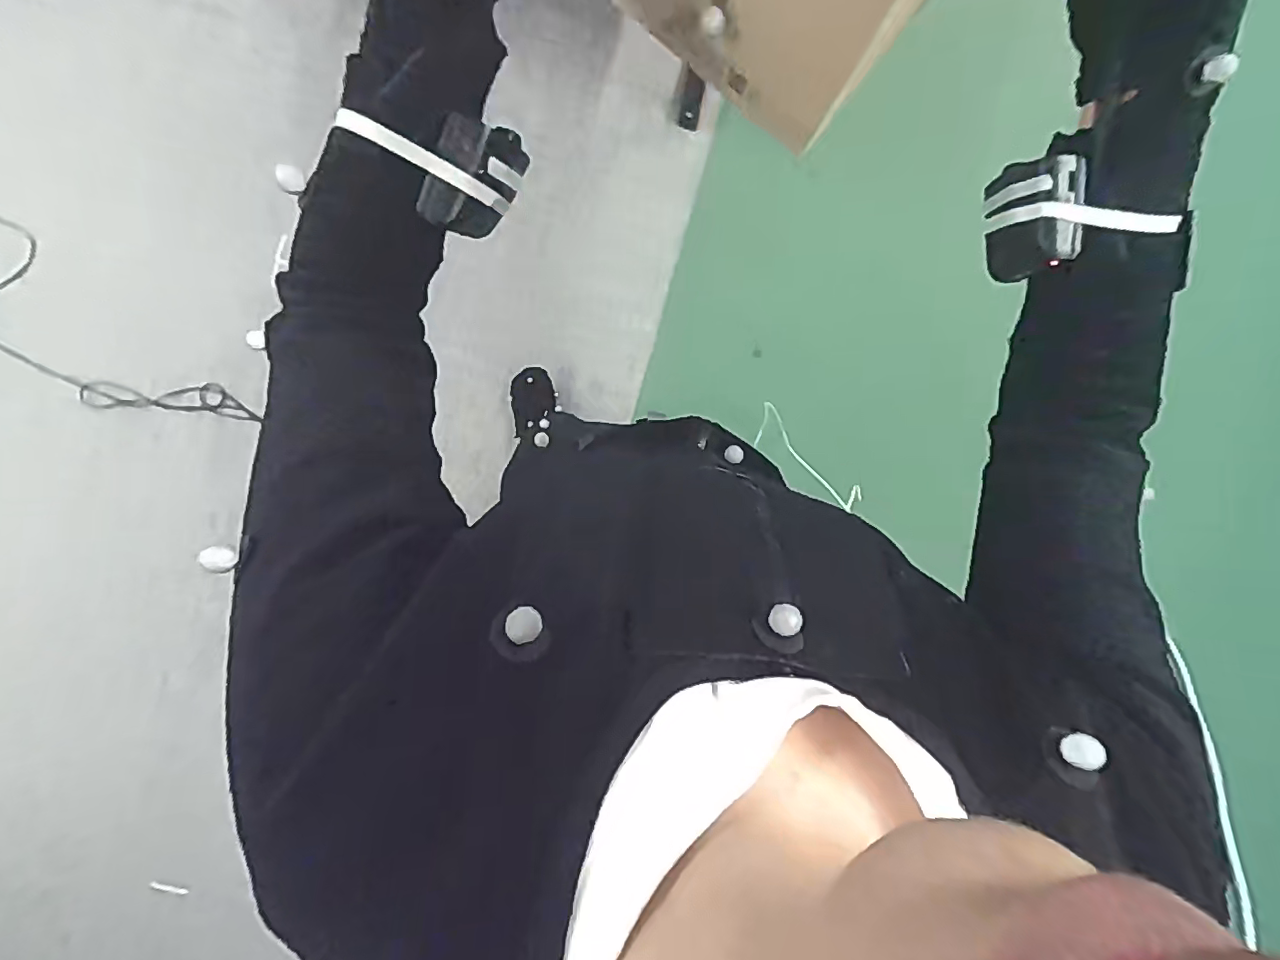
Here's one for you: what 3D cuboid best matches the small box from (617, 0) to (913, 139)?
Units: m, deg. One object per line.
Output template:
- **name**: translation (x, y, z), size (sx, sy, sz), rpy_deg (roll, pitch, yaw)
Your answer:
- **small box**: translation (0.096, -0.340, 0.285), size (0.168, 0.176, 0.179), rpy_deg (38, 87, -2)
